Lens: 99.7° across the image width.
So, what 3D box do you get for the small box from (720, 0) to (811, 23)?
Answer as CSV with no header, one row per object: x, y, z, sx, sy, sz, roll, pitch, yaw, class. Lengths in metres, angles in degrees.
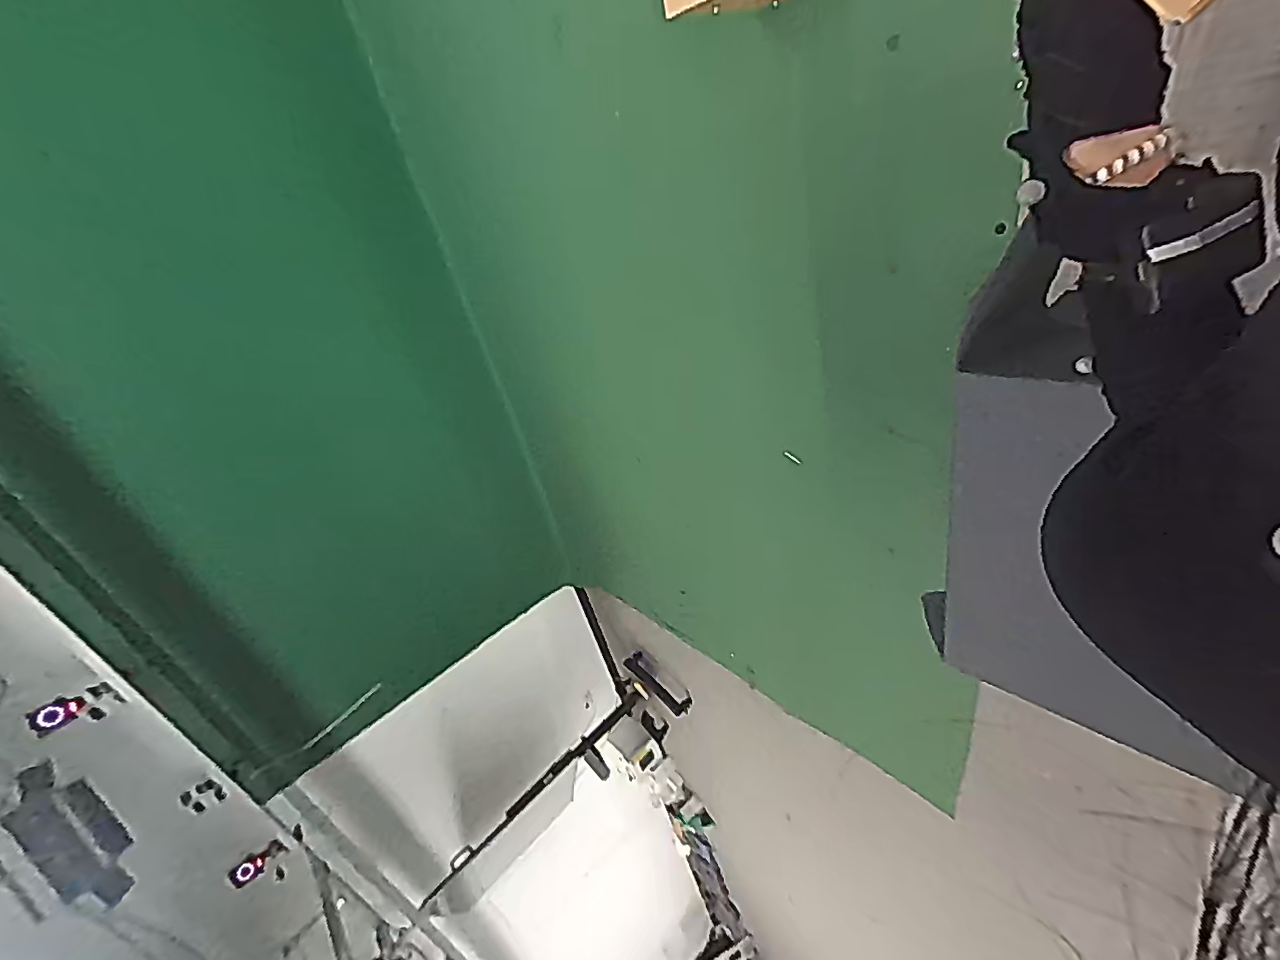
0.303,-1.205,1.267,0.179,0.176,0.168,25,138,44,small box
